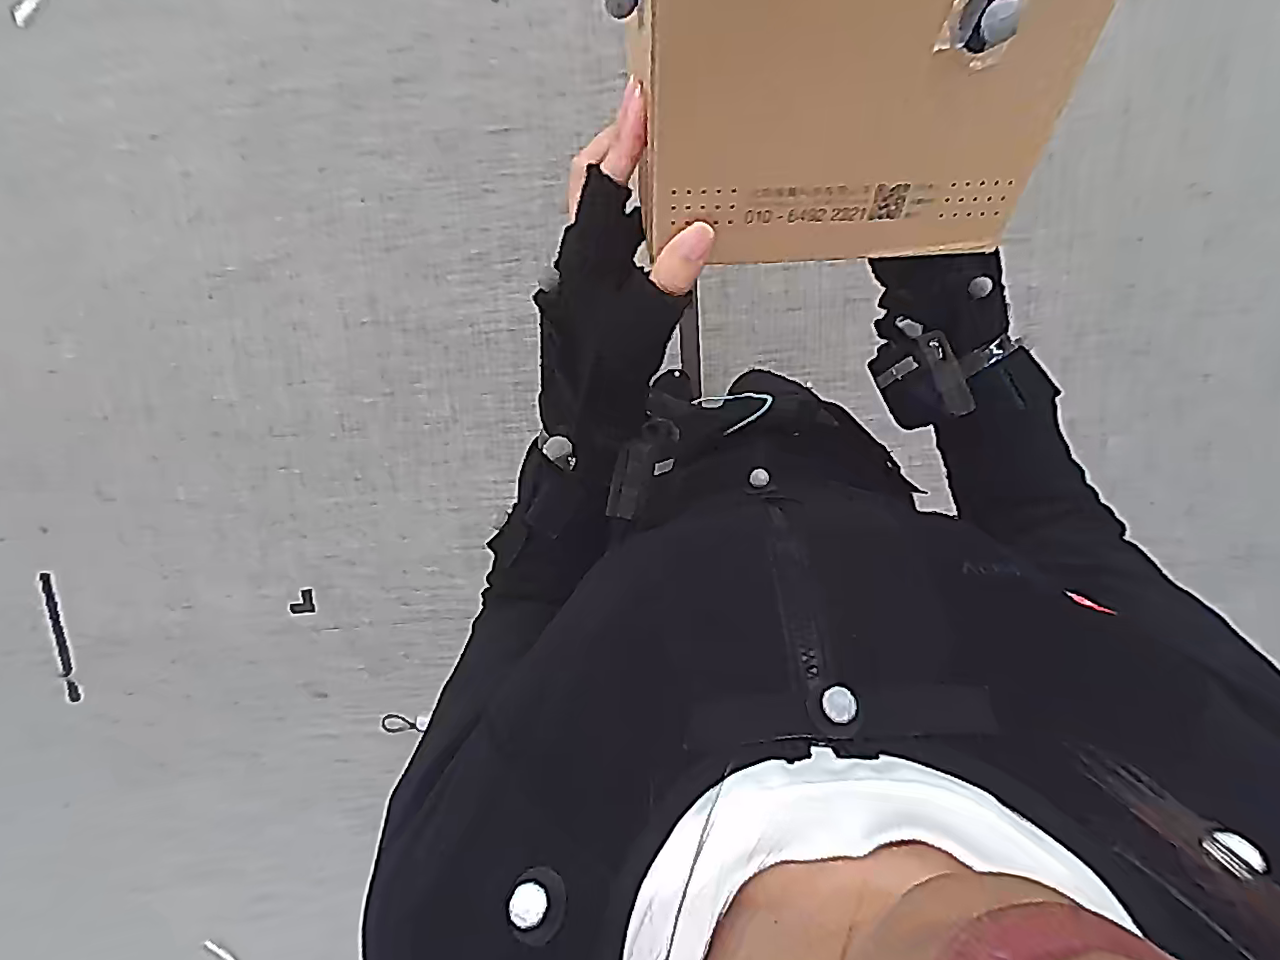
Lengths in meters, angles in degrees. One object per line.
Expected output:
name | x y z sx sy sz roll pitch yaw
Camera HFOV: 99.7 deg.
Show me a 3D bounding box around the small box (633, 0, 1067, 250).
small box | 0.083 -0.228 0.268 0.168 0.179 0.176 -3 137 -3
